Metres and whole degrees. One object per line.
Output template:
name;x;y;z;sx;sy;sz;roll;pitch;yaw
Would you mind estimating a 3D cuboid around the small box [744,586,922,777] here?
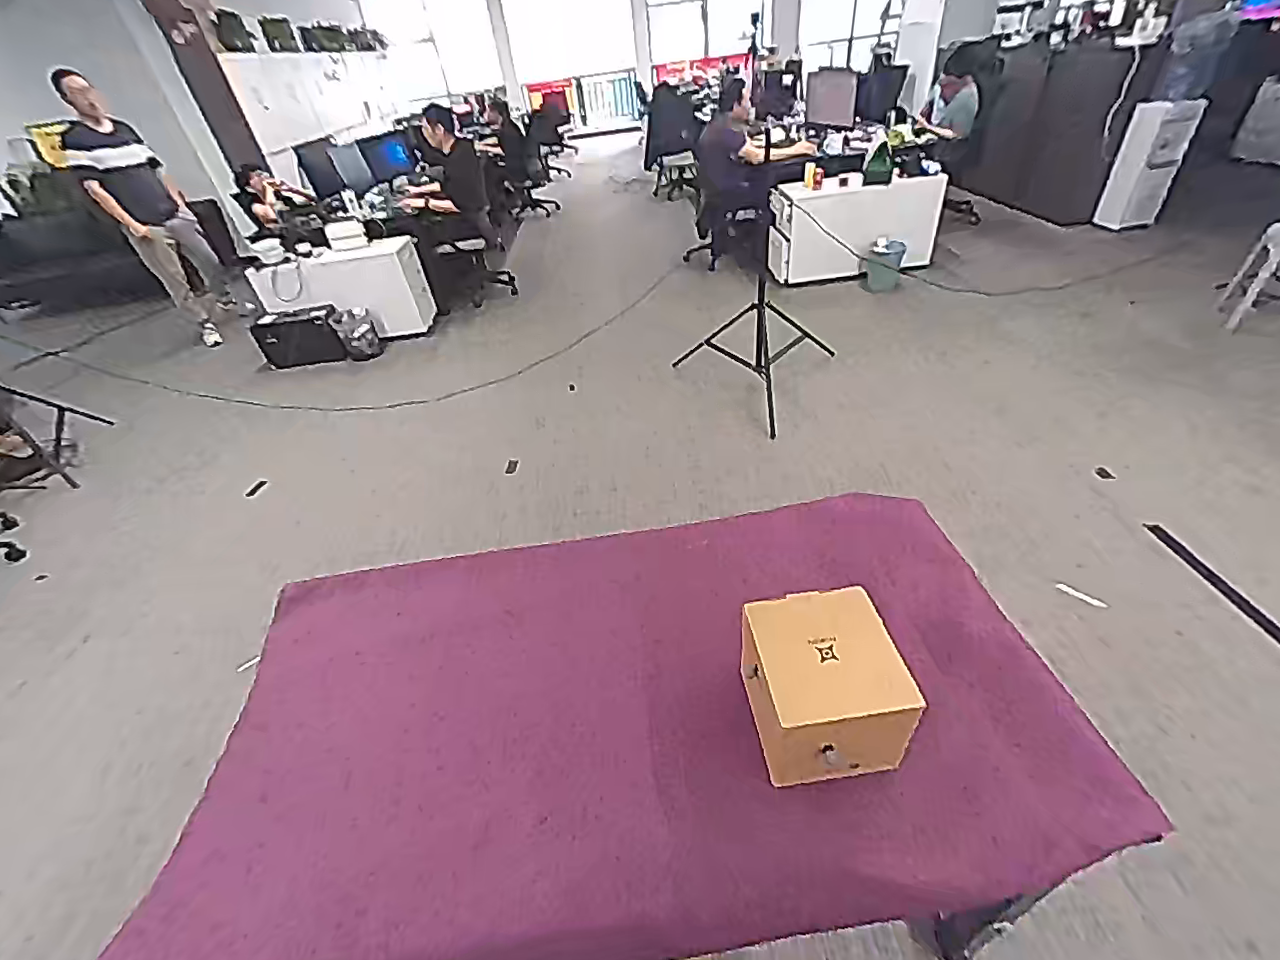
small box;0.240;0.271;0.719;0.168;0.176;0.179;-9;38;-1
